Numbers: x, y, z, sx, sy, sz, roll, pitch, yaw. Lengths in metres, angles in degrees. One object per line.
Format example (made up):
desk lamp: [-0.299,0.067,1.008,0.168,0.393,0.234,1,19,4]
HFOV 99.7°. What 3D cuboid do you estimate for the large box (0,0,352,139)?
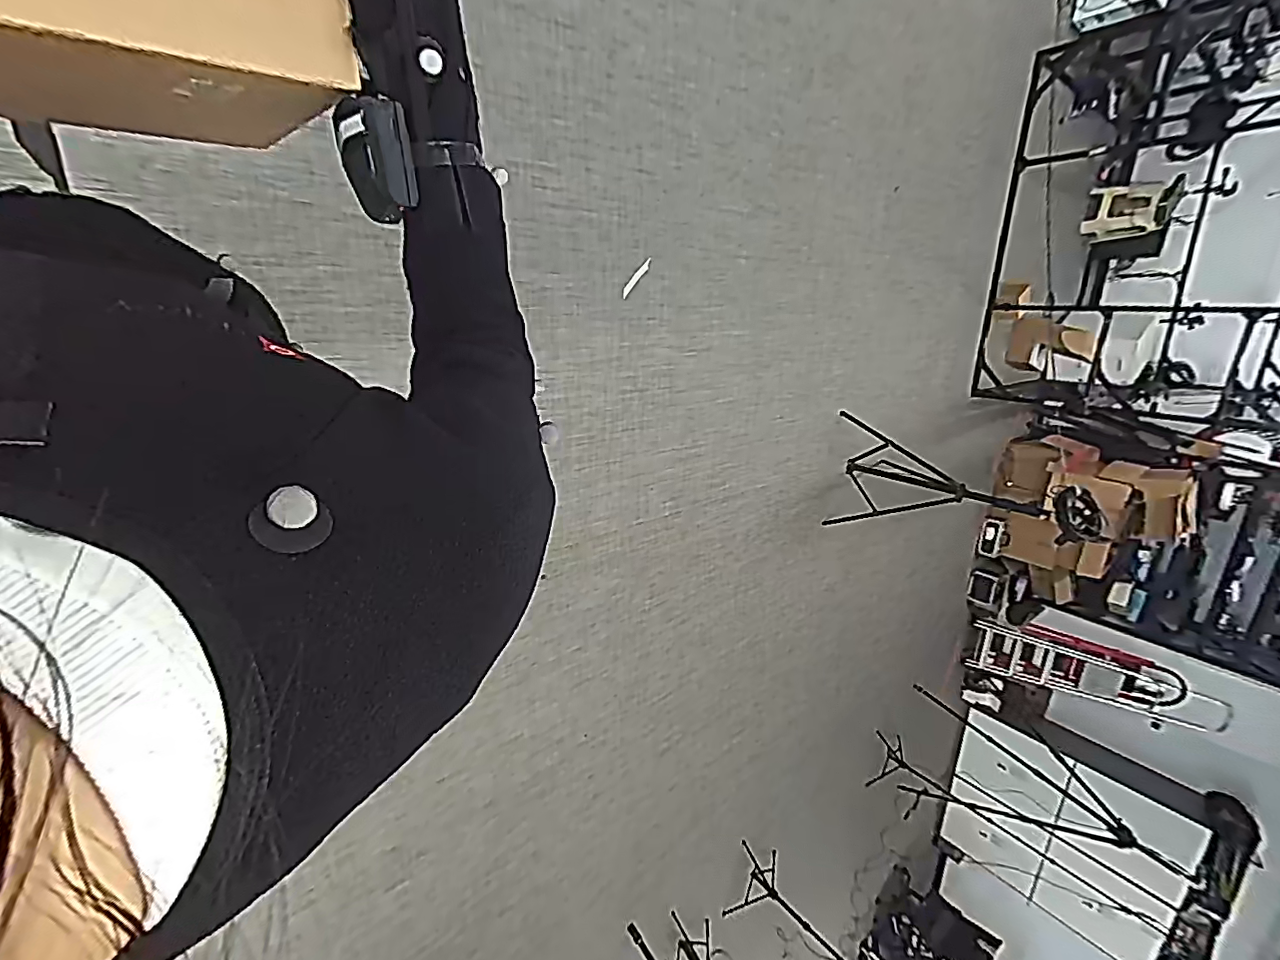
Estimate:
large box: [-0.424,-0.383,0.257,0.408,0.320,0.320,-18,121,-39]
